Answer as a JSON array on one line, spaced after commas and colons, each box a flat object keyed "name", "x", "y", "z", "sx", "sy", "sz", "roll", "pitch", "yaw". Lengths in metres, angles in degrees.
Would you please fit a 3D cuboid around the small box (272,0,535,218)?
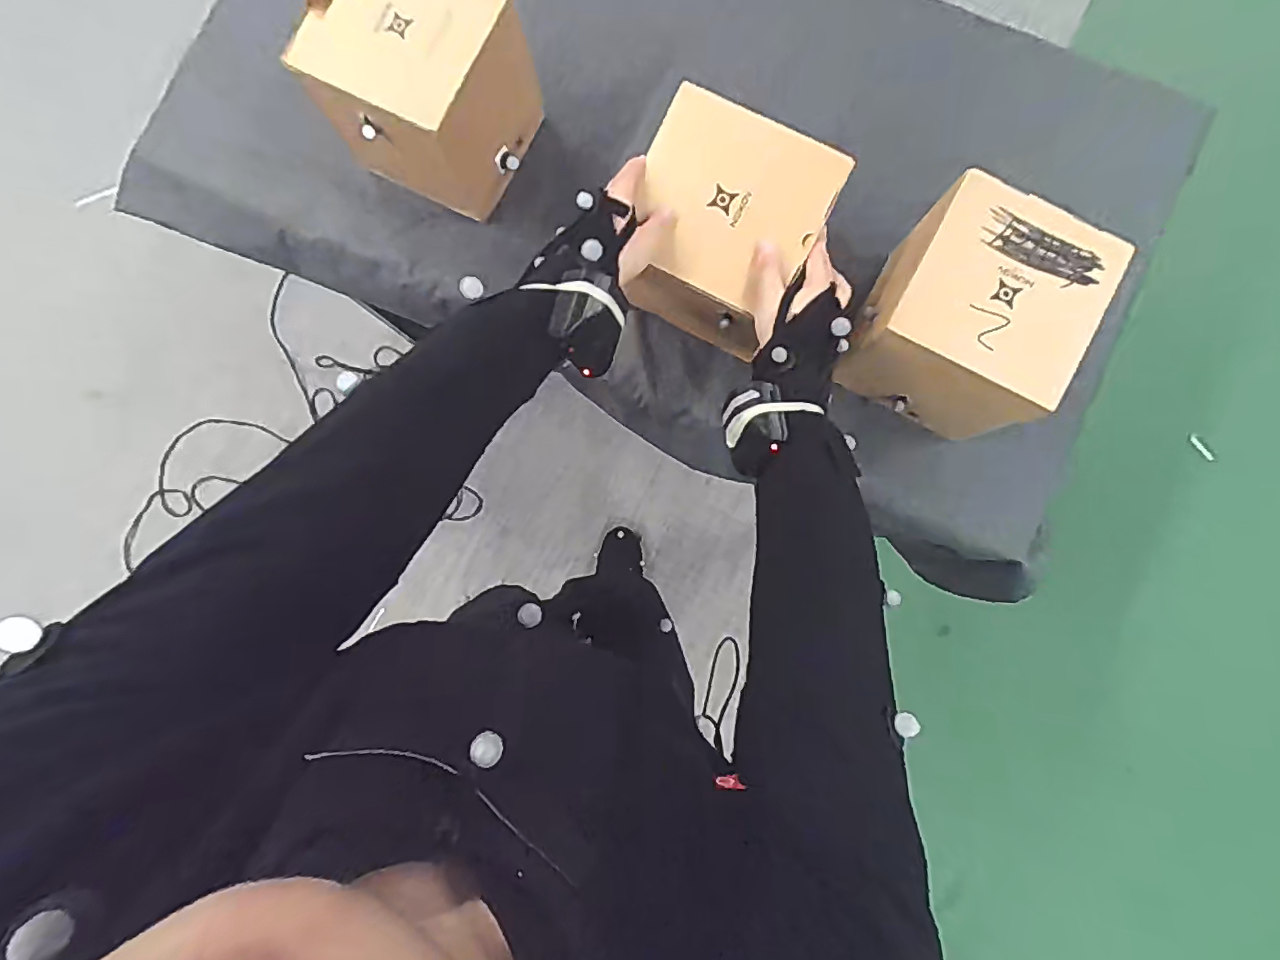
[{"name": "small box", "x": -0.239, "y": -0.428, "z": 0.596, "sx": 0.179, "sy": 0.176, "sz": 0.168, "roll": 26, "pitch": 86, "yaw": 1}]

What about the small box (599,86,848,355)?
[{"name": "small box", "x": 0.079, "y": -0.250, "z": 0.568, "sx": 0.179, "sy": 0.176, "sz": 0.168, "roll": 27, "pitch": 93, "yaw": 3}]
